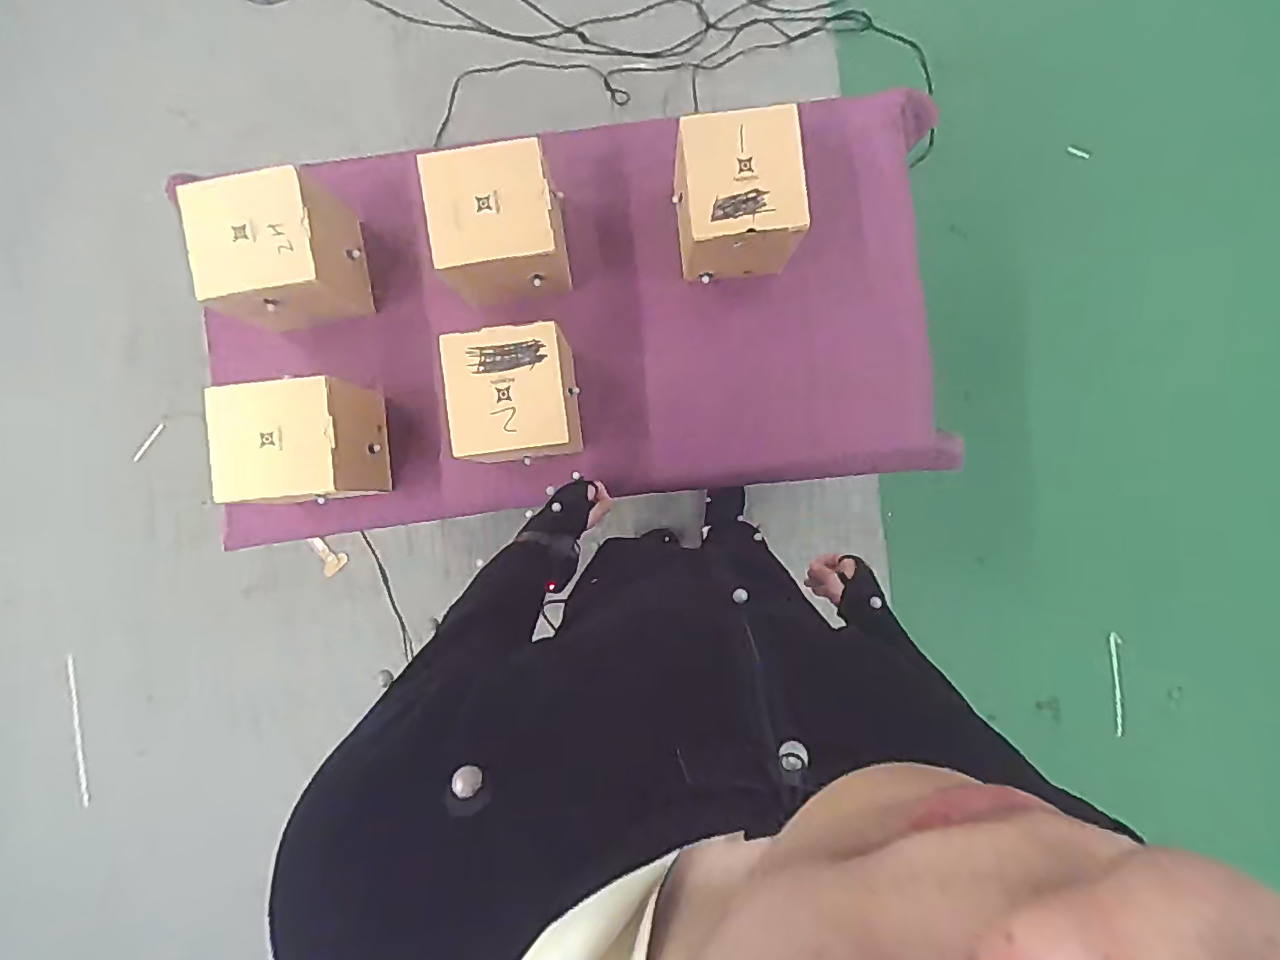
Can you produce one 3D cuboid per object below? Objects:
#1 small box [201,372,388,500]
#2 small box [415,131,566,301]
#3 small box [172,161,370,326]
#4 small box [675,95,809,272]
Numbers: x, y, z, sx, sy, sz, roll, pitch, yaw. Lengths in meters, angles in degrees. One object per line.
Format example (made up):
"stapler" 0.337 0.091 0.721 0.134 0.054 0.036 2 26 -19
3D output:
"small box" -0.515 -0.058 0.826 0.179 0.176 0.168 -6 89 0
"small box" -0.213 -0.388 0.822 0.179 0.176 0.168 -8 90 2
"small box" -0.548 -0.346 0.825 0.179 0.176 0.168 -10 91 1
"small box" 0.144 -0.428 0.813 0.168 0.176 0.179 -6 90 1
